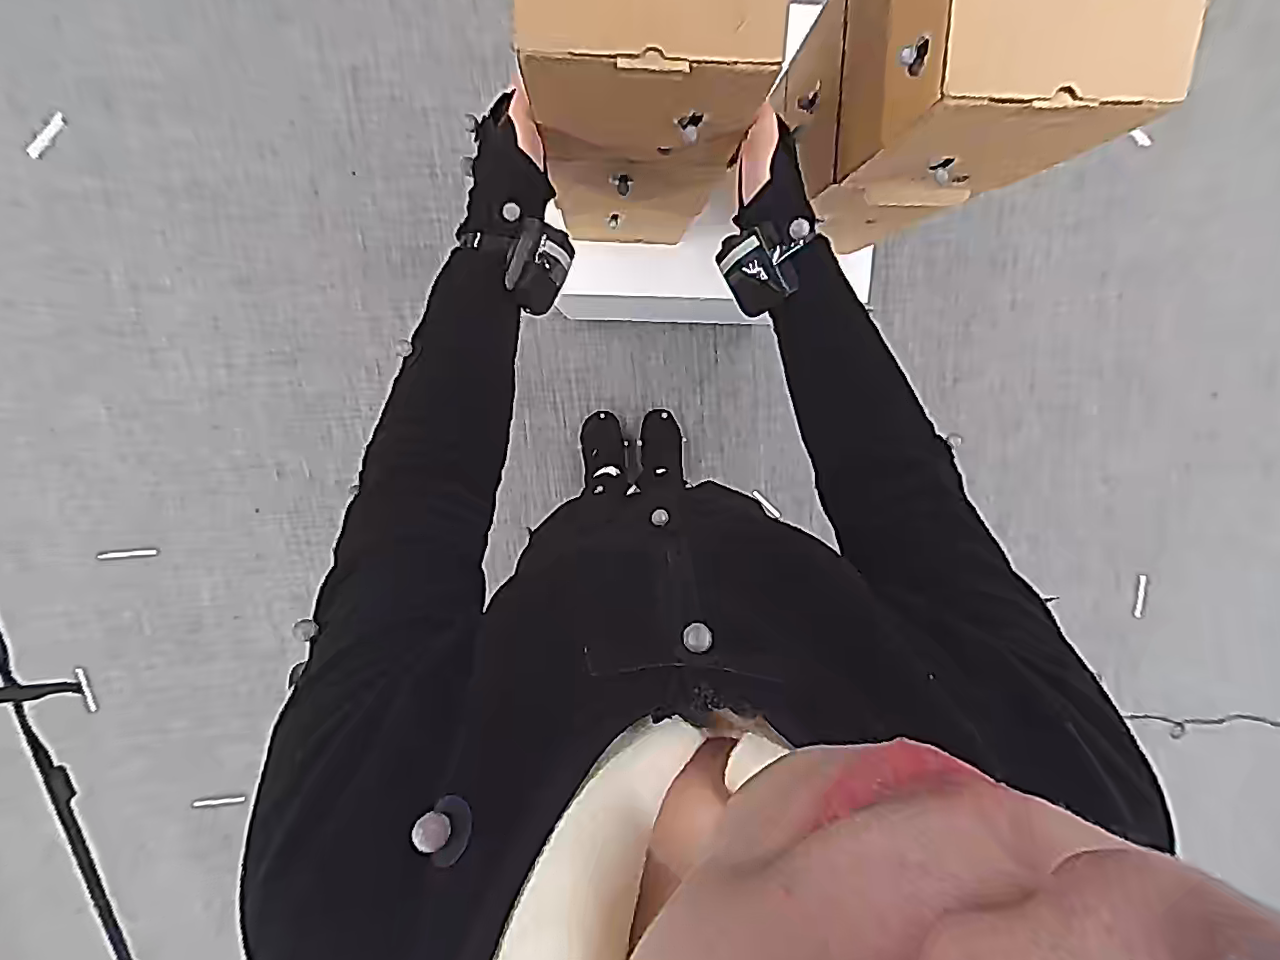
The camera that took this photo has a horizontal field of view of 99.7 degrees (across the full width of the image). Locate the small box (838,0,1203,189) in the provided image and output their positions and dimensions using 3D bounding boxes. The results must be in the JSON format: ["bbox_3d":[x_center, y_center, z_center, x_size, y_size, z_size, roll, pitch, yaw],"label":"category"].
[{"bbox_3d":[0.264,-0.341,0.407,0.168,0.176,0.179,-1,103,-3],"label":"small box"}]

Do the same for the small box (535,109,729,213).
[{"bbox_3d":[-0.008,-0.382,0.547,0.179,0.176,0.168,1,103,-4],"label":"small box"}]

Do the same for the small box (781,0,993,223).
[{"bbox_3d":[0.254,-0.379,0.565,0.168,0.176,0.179,-1,102,-3],"label":"small box"}]

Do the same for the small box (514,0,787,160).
[{"bbox_3d":[0.005,-0.352,0.387,0.168,0.176,0.179,1,102,-4],"label":"small box"}]

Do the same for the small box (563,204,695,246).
[{"bbox_3d":[-0.017,-0.422,0.707,0.168,0.176,0.179,1,102,-4],"label":"small box"}]
